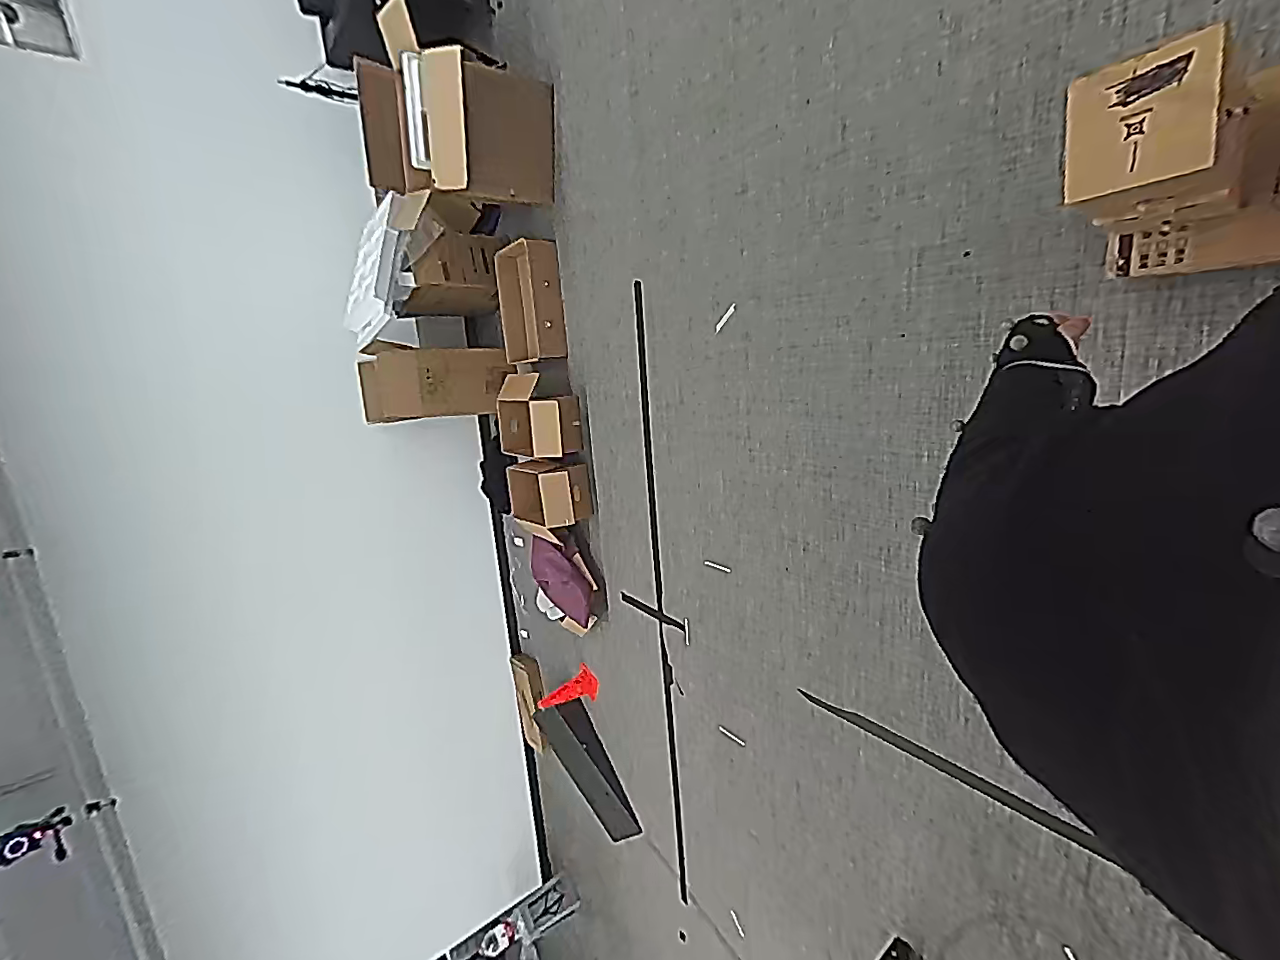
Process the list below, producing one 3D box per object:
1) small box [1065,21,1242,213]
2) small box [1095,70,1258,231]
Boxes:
[{"bbox_3d":[0.772,-0.525,0.815,0.168,0.176,0.179,8,107,52],"label":"small box"},{"bbox_3d":[0.903,-0.538,0.913,0.168,0.176,0.179,11,109,52],"label":"small box"}]
